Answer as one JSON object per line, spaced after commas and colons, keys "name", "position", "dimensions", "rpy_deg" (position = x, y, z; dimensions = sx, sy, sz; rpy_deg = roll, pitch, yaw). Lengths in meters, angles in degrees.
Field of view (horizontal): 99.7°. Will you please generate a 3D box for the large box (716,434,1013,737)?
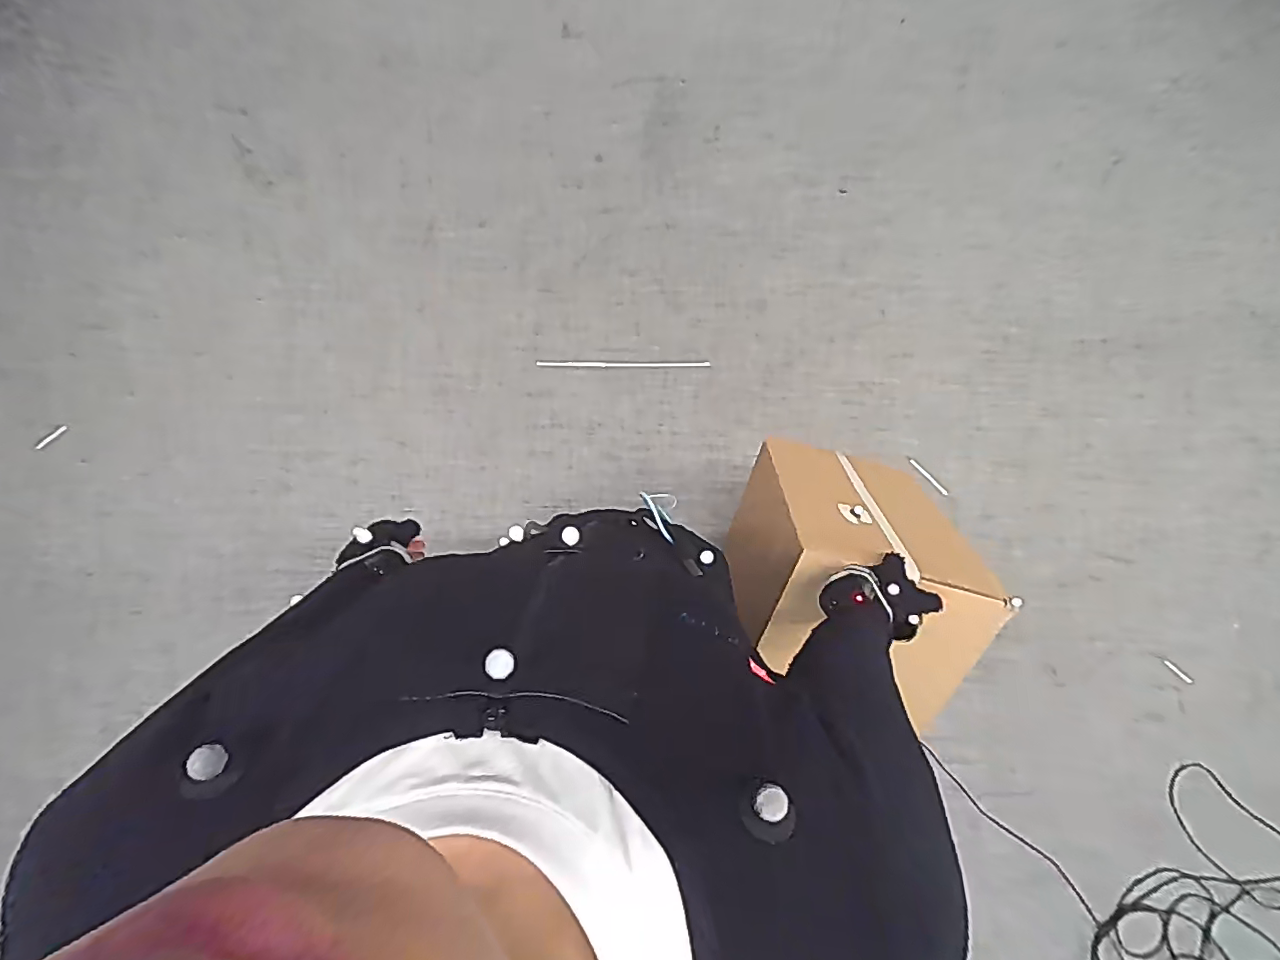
{"name": "large box", "position": [0.341, 0.166, 0.976], "dimensions": [0.320, 0.408, 0.320], "rpy_deg": [15, 118, -3]}
